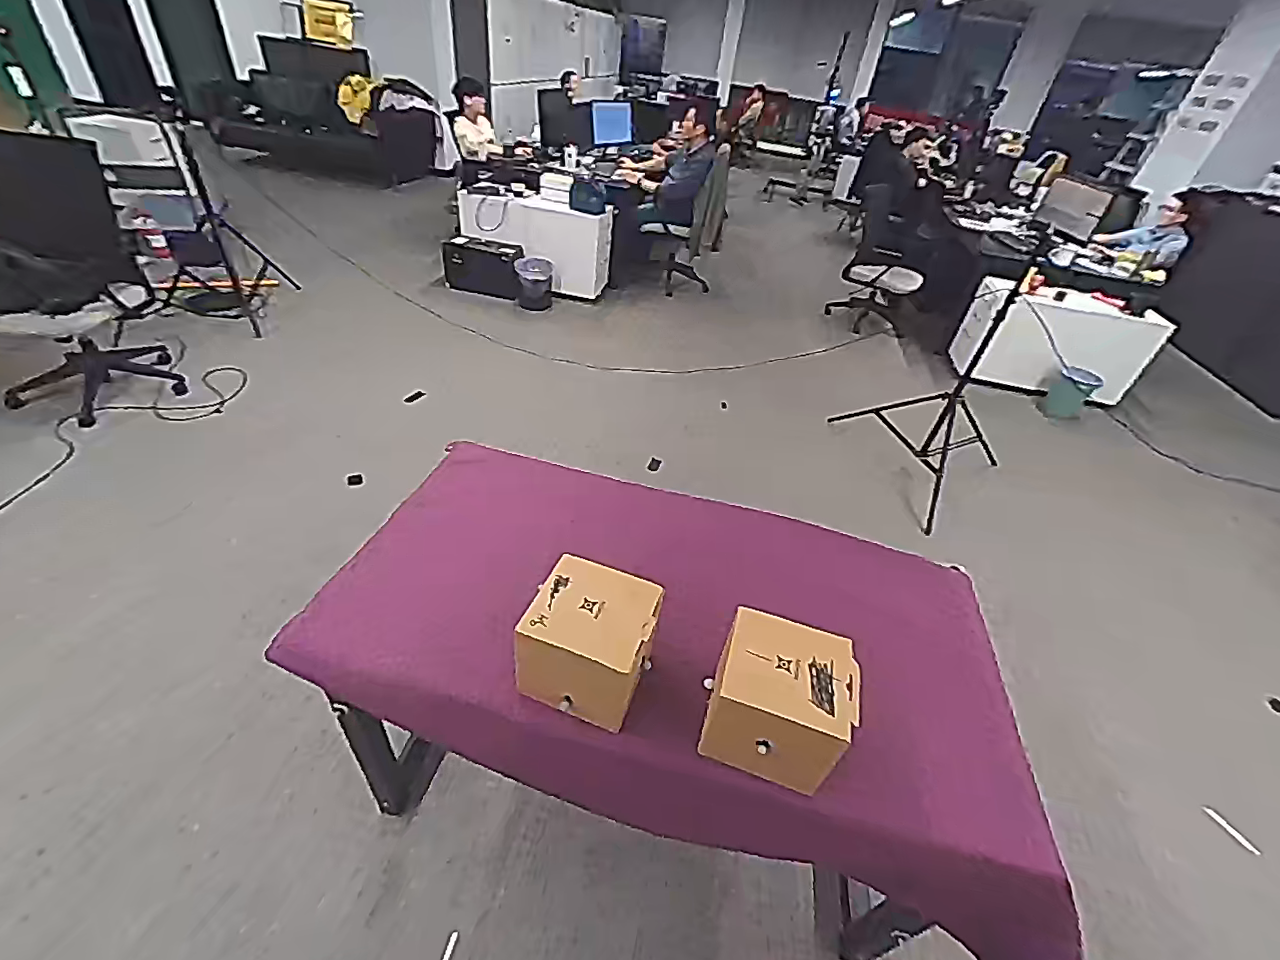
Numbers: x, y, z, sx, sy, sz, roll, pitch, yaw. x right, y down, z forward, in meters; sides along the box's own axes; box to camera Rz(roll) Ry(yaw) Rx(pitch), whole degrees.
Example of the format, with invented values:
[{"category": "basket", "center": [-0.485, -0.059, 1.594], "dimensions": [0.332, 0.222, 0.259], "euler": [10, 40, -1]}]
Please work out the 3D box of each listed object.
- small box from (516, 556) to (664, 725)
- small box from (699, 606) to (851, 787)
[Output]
[{"category": "small box", "center": [-0.079, 0.256, 0.854], "dimensions": [0.179, 0.176, 0.168], "euler": [18, 38, 11]}, {"category": "small box", "center": [0.201, 0.328, 0.815], "dimensions": [0.179, 0.176, 0.168], "euler": [16, 38, 11]}]
